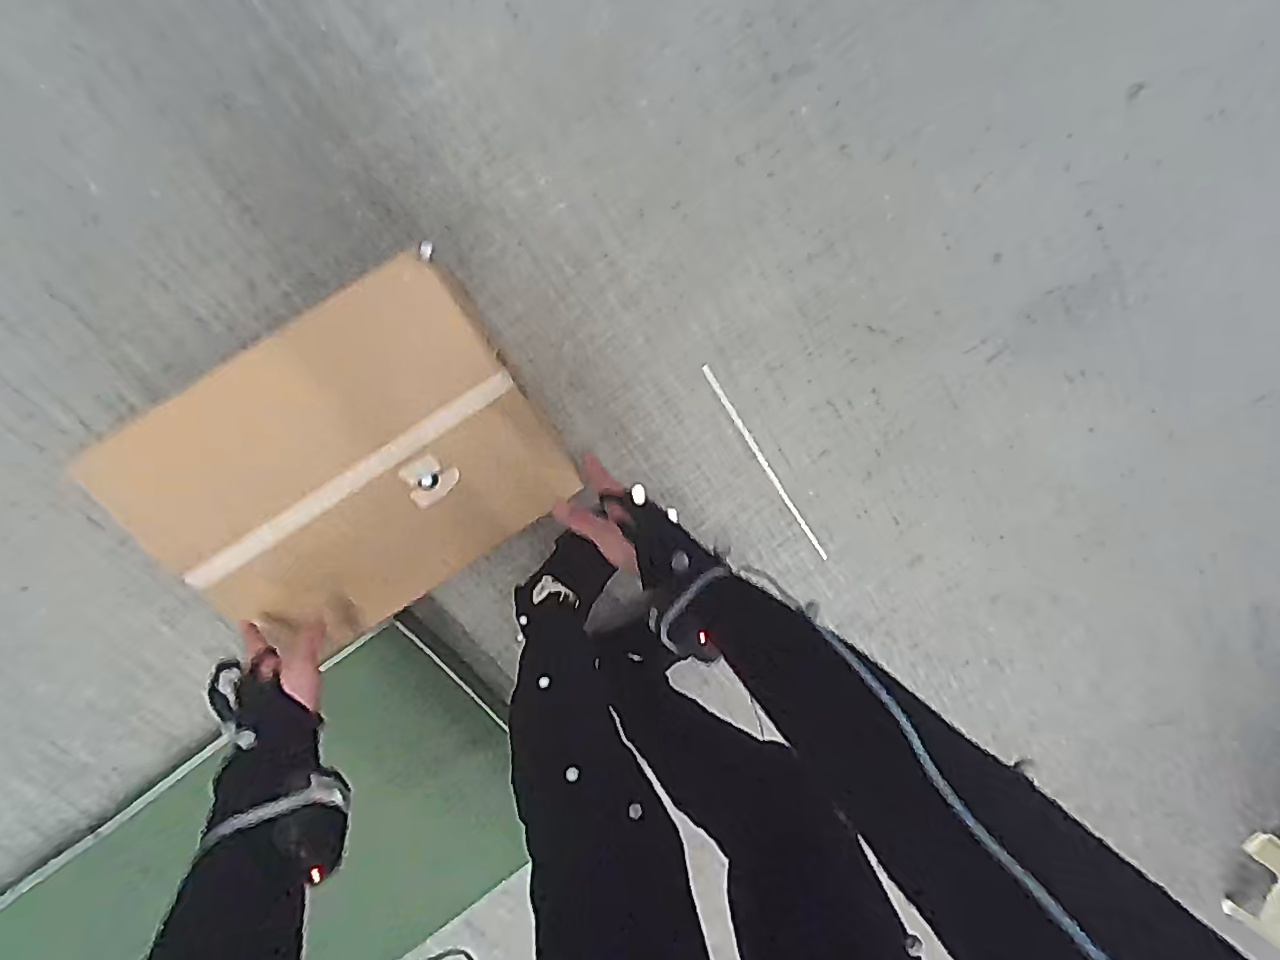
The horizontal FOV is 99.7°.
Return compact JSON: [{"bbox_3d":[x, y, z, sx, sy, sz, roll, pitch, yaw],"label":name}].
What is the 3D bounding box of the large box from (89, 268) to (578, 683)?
[{"bbox_3d":[-0.348,-0.025,0.736,0.408,0.320,0.320,-34,111,-3],"label":"large box"}]
